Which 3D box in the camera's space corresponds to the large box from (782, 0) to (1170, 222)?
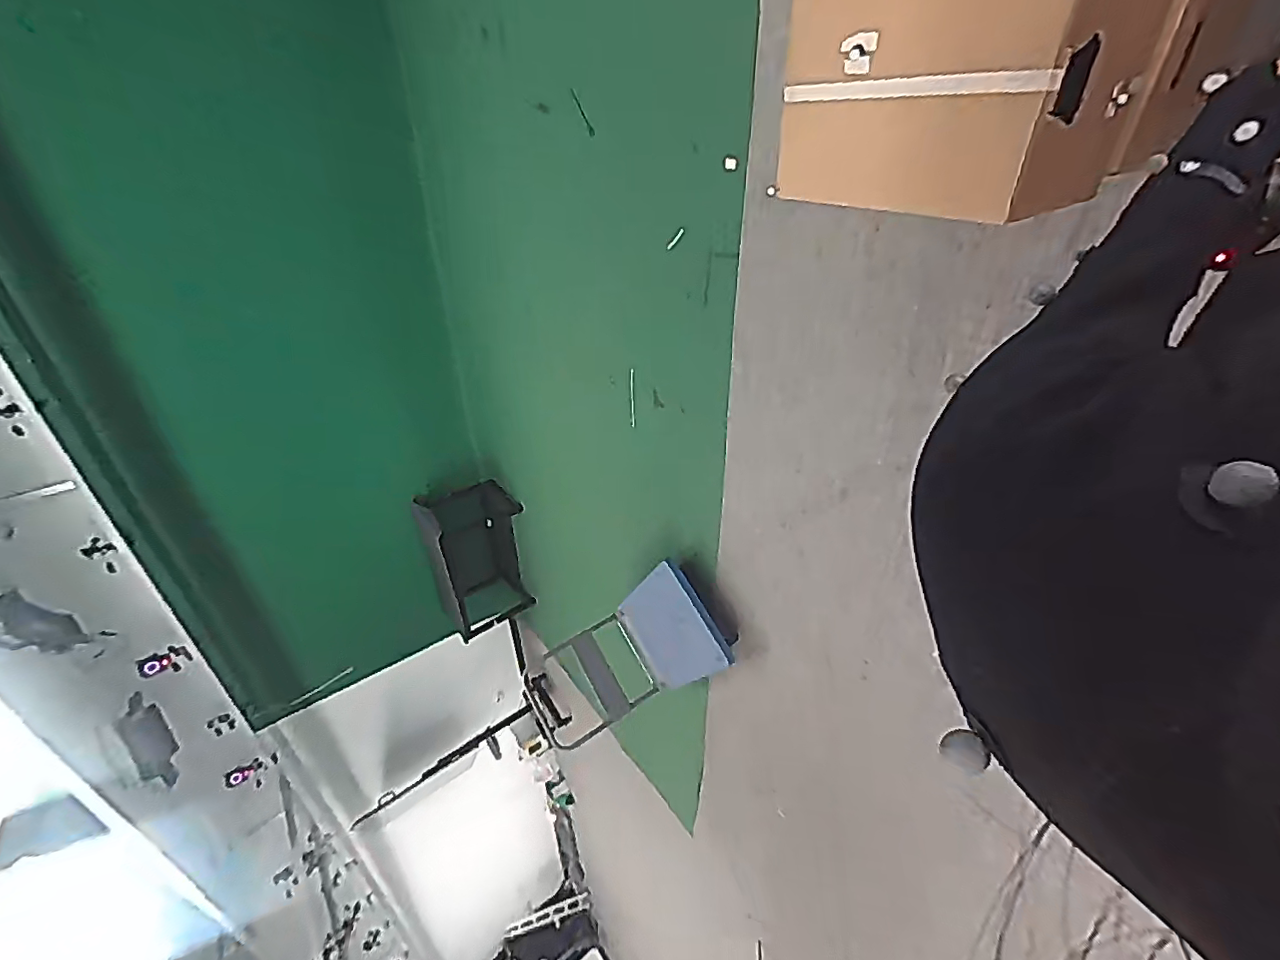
[{"bbox_3d":[0.488,-0.610,0.840,0.408,0.320,0.320,37,140,42],"label":"large box"}]
